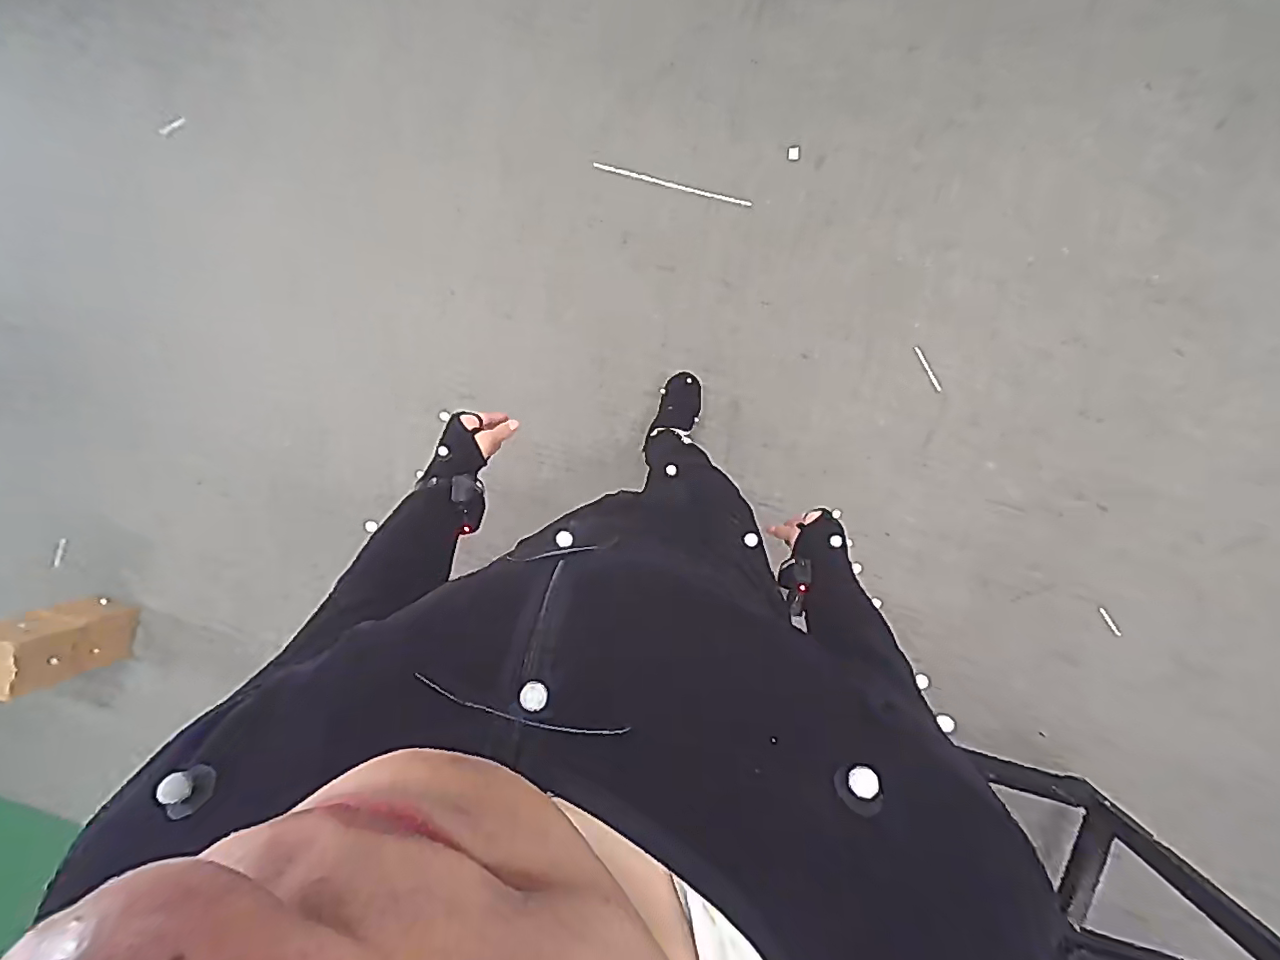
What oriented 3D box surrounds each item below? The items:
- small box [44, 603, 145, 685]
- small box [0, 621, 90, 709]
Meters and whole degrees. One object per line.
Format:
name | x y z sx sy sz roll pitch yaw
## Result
small box | -1.711 0.505 1.690 0.168 0.176 0.179 16 92 3
small box | -1.726 0.515 1.527 0.179 0.176 0.168 13 93 3
